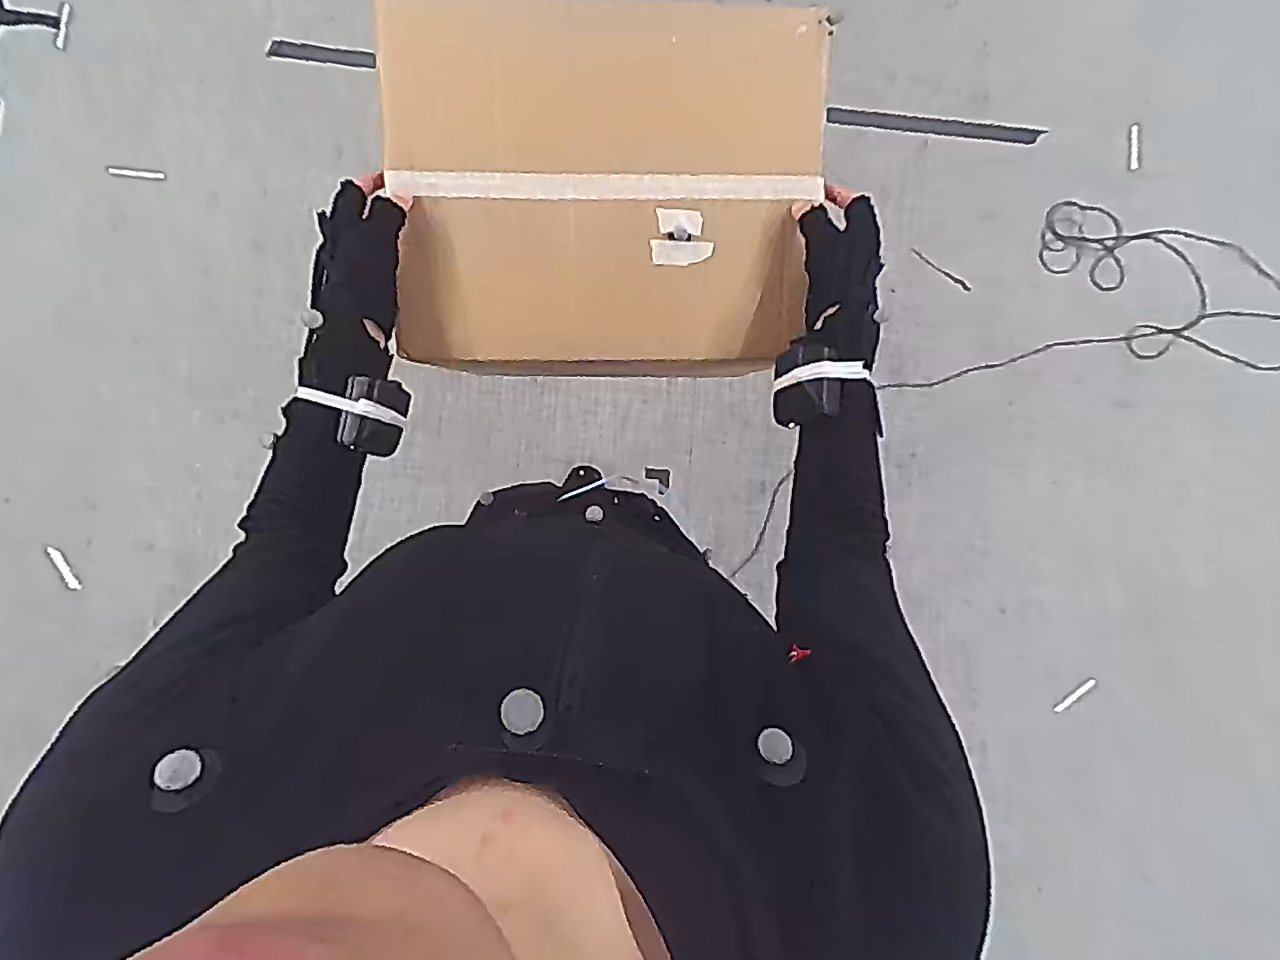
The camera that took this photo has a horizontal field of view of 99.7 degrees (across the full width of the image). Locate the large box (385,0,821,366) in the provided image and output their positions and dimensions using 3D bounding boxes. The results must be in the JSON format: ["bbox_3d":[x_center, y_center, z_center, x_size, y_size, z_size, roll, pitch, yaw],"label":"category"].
[{"bbox_3d":[-0.038,-0.309,0.656,0.408,0.320,0.320,-1,99,-4],"label":"large box"}]
